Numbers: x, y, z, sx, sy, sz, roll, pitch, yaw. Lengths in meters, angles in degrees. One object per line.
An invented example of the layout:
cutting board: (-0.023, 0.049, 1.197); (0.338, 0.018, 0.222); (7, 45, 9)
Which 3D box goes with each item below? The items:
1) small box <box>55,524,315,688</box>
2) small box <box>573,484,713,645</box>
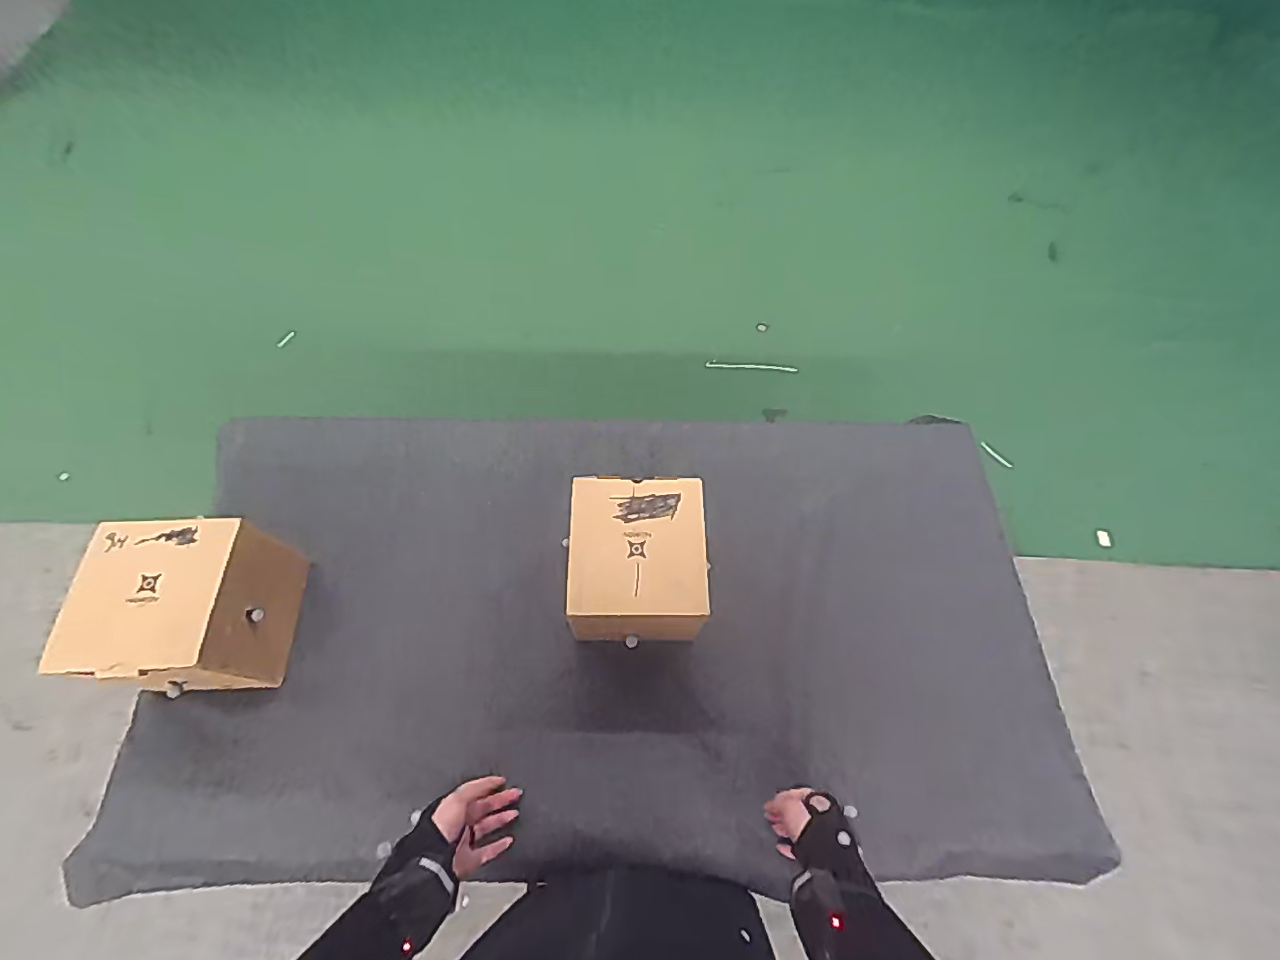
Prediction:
small box: (-0.548, 0.167, 0.685); (0.168, 0.176, 0.179); (-1, 65, -3)
small box: (0.001, 0.119, 0.730); (0.168, 0.176, 0.179); (1, 65, -2)
